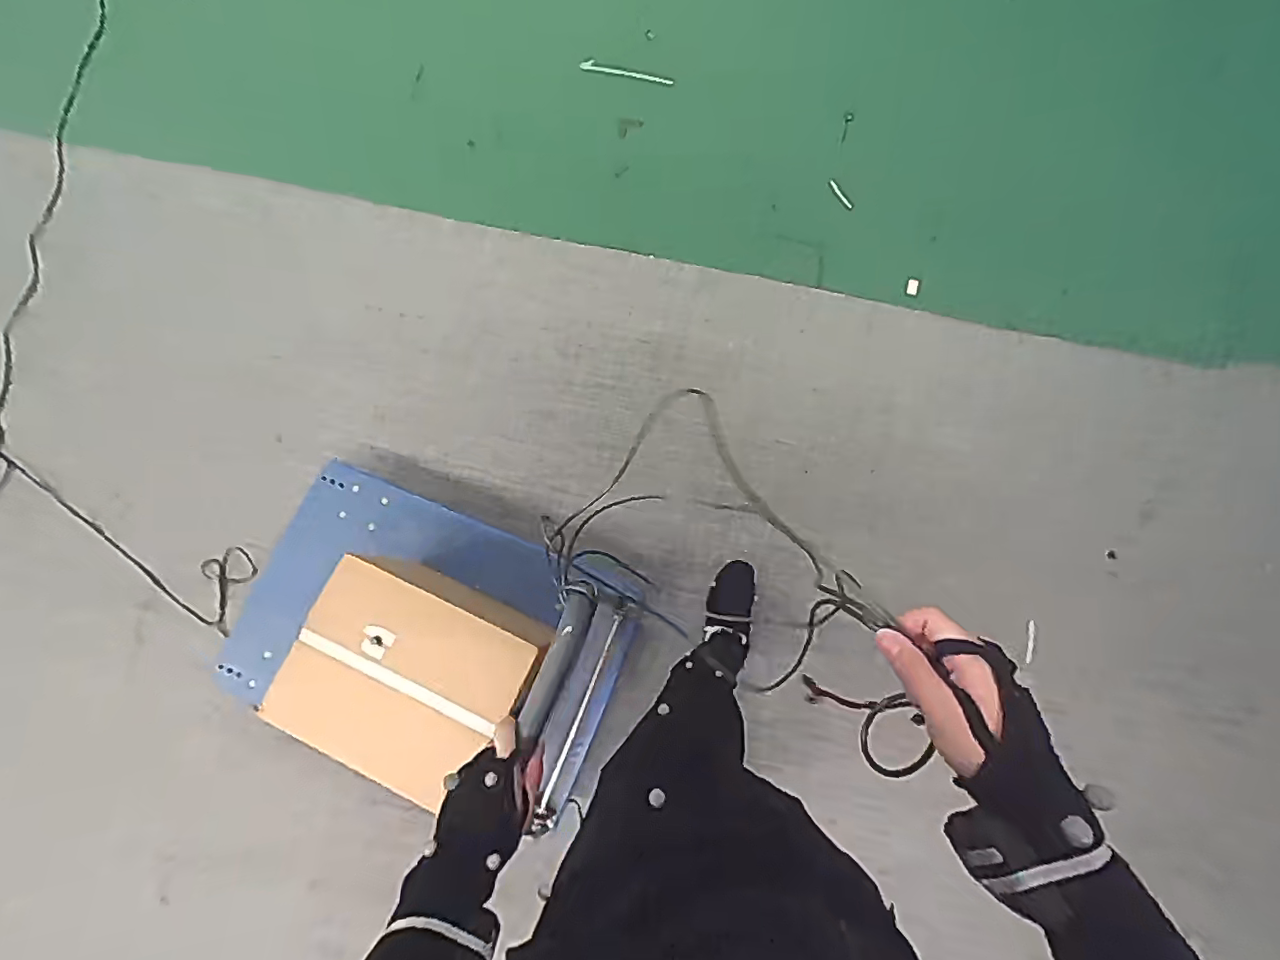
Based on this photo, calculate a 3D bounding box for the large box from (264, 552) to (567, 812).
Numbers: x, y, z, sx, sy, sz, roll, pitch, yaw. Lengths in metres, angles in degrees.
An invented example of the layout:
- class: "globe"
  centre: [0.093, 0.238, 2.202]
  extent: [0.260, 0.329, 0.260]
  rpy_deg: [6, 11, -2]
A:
- class: "large box"
  centre: [-0.405, 0.369, 1.083]
  extent: [0.408, 0.320, 0.320]
  rpy_deg: [24, 80, 6]
